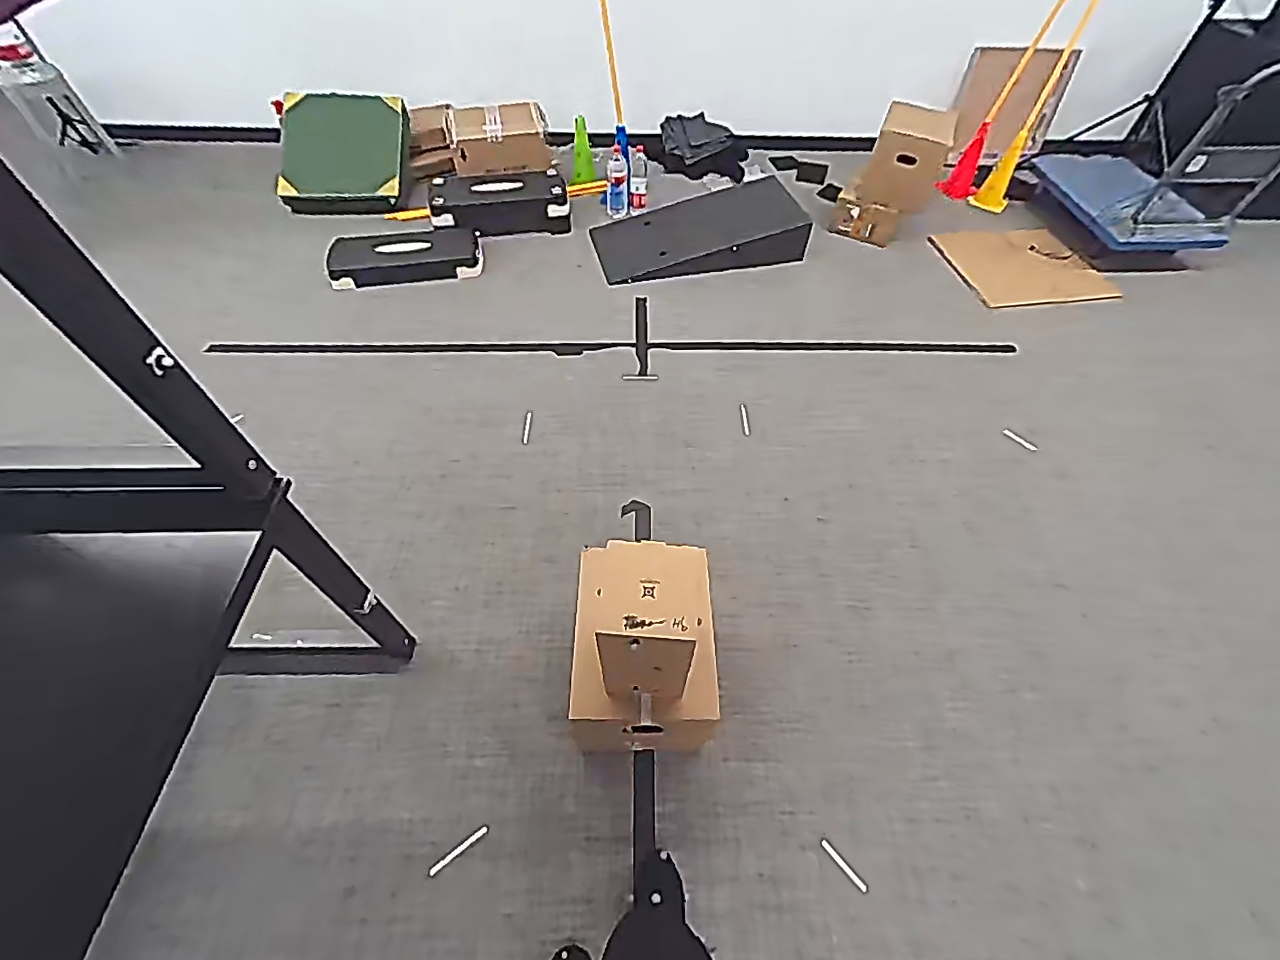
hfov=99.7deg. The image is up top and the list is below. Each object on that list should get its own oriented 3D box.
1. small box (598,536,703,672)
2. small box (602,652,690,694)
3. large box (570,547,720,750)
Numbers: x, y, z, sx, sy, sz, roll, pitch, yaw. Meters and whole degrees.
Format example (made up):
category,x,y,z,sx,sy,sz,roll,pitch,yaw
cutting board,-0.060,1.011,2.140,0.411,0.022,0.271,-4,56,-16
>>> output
category,x,y,z,sx,sy,sz,roll,pitch,yaw
small box,0.020,0.224,0.971,0.168,0.176,0.179,4,52,3
small box,0.016,0.319,1.104,0.168,0.176,0.179,3,53,2
large box,0.006,0.417,1.336,0.320,0.320,0.408,1,52,-2
